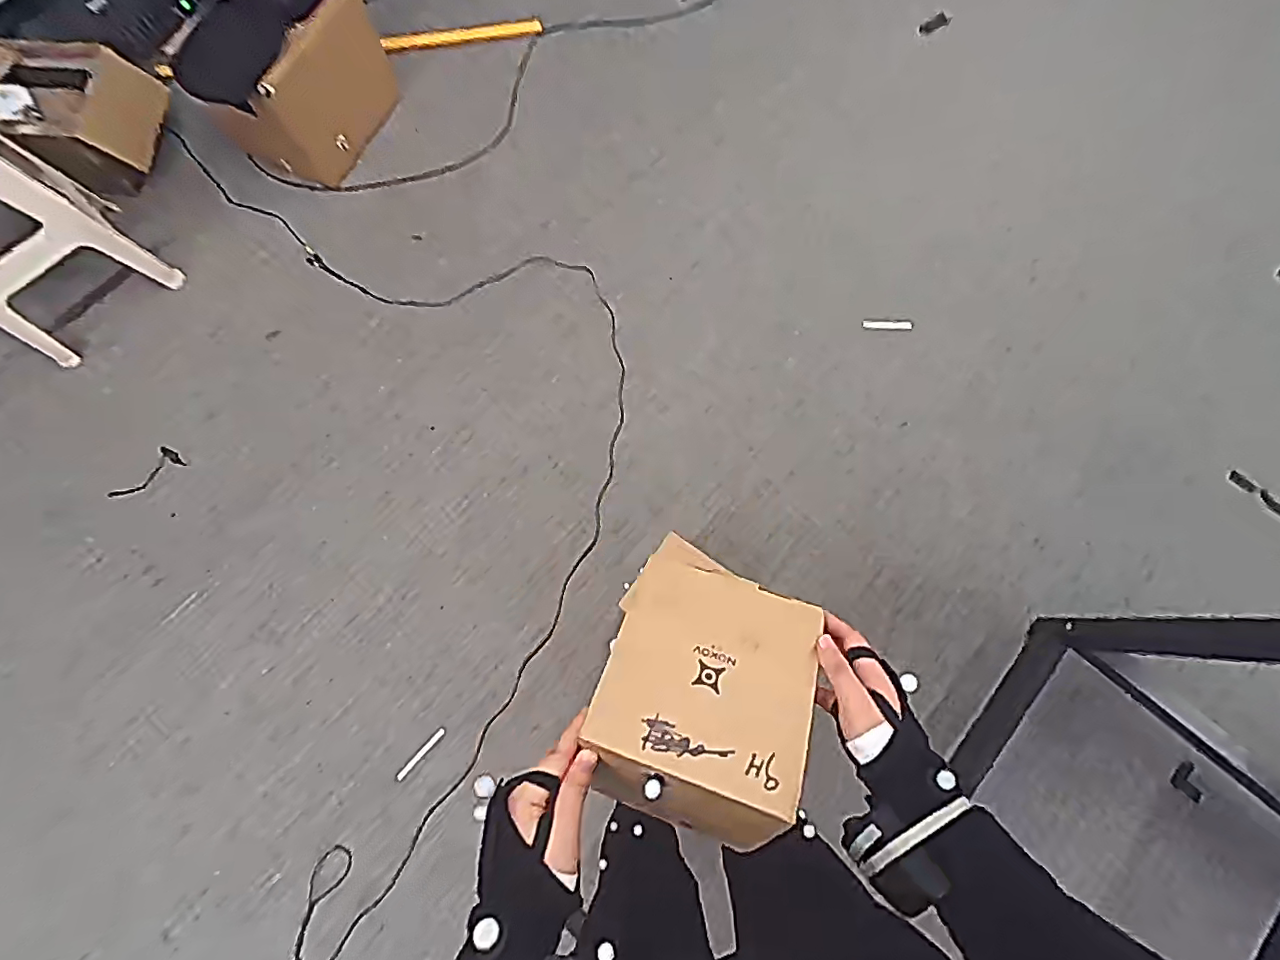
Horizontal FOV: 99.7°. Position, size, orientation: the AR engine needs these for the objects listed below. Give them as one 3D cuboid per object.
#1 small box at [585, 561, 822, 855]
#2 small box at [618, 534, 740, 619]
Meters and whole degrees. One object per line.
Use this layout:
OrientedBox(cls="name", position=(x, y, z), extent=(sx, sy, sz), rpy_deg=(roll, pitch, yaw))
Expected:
OrientedBox(cls="small box", position=(0.057, 0.212, 0.507), extent=(0.168, 0.176, 0.179), rpy_deg=(15, 48, 13))
OrientedBox(cls="small box", position=(0.074, 0.236, 1.079), extent=(0.168, 0.176, 0.179), rpy_deg=(34, 76, 7))
